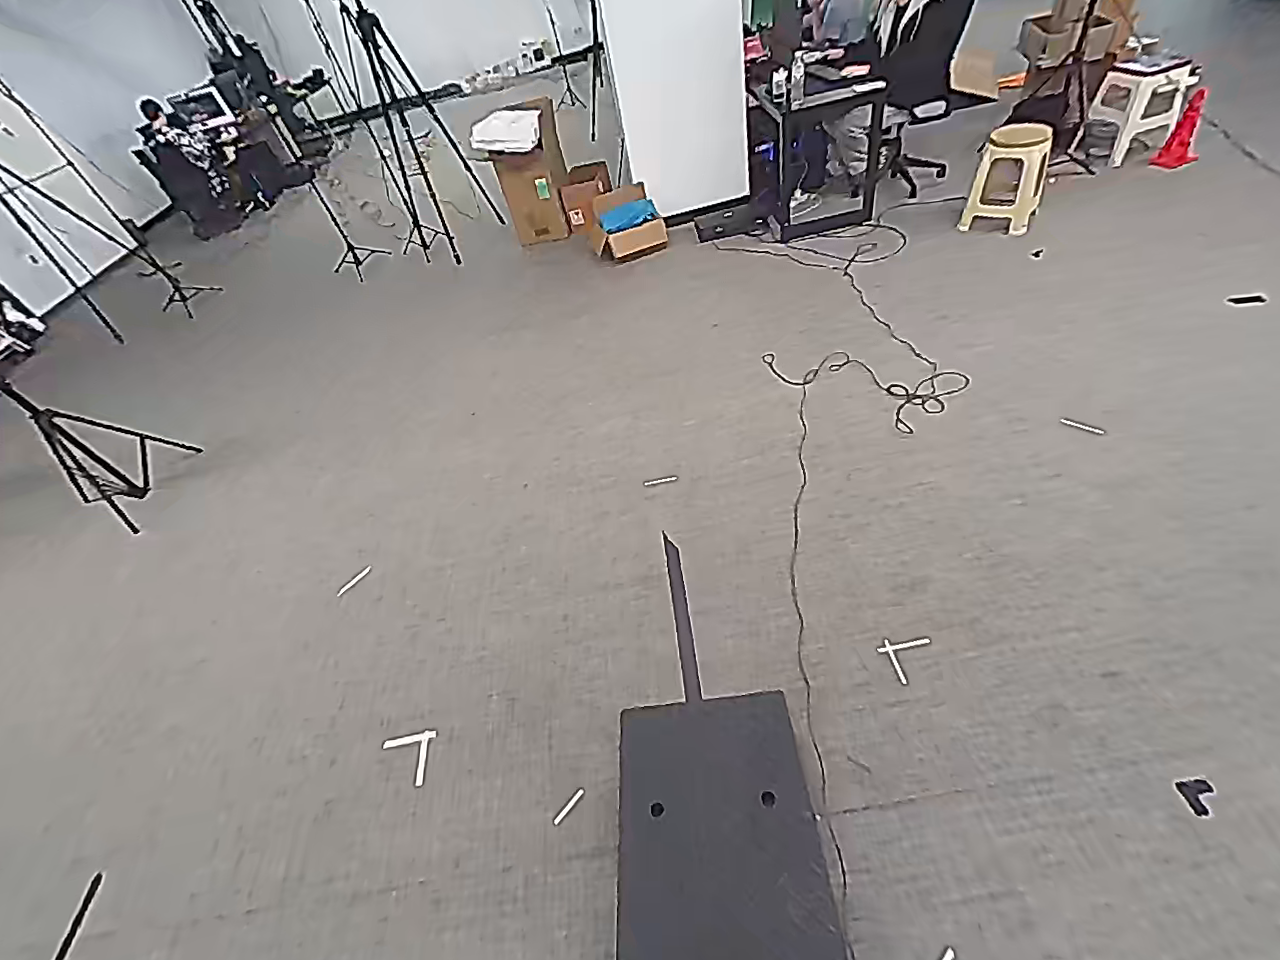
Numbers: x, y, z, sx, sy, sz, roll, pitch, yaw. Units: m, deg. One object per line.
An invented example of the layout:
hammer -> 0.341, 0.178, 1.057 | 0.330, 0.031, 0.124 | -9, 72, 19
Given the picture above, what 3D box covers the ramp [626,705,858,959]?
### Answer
ramp -> 0.208, 0.987, 1.198 | 0.509, 0.206, 0.991 | -13, 43, 5
